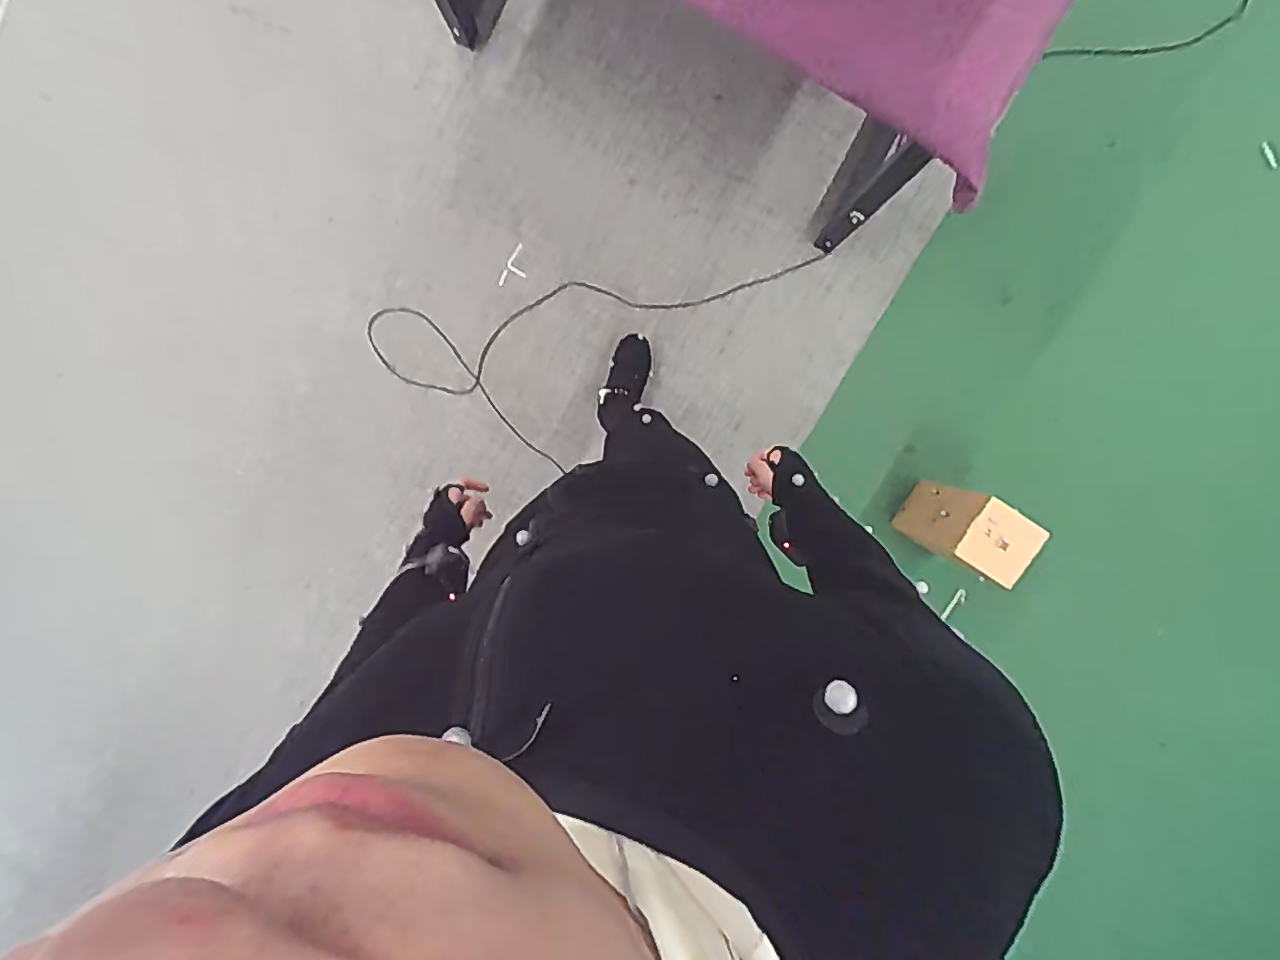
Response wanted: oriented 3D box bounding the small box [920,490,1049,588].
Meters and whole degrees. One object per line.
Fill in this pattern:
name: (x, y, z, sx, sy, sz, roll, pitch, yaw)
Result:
small box: (0.861, 0.140, 1.369, 0.179, 0.176, 0.168, 32, 95, -4)
